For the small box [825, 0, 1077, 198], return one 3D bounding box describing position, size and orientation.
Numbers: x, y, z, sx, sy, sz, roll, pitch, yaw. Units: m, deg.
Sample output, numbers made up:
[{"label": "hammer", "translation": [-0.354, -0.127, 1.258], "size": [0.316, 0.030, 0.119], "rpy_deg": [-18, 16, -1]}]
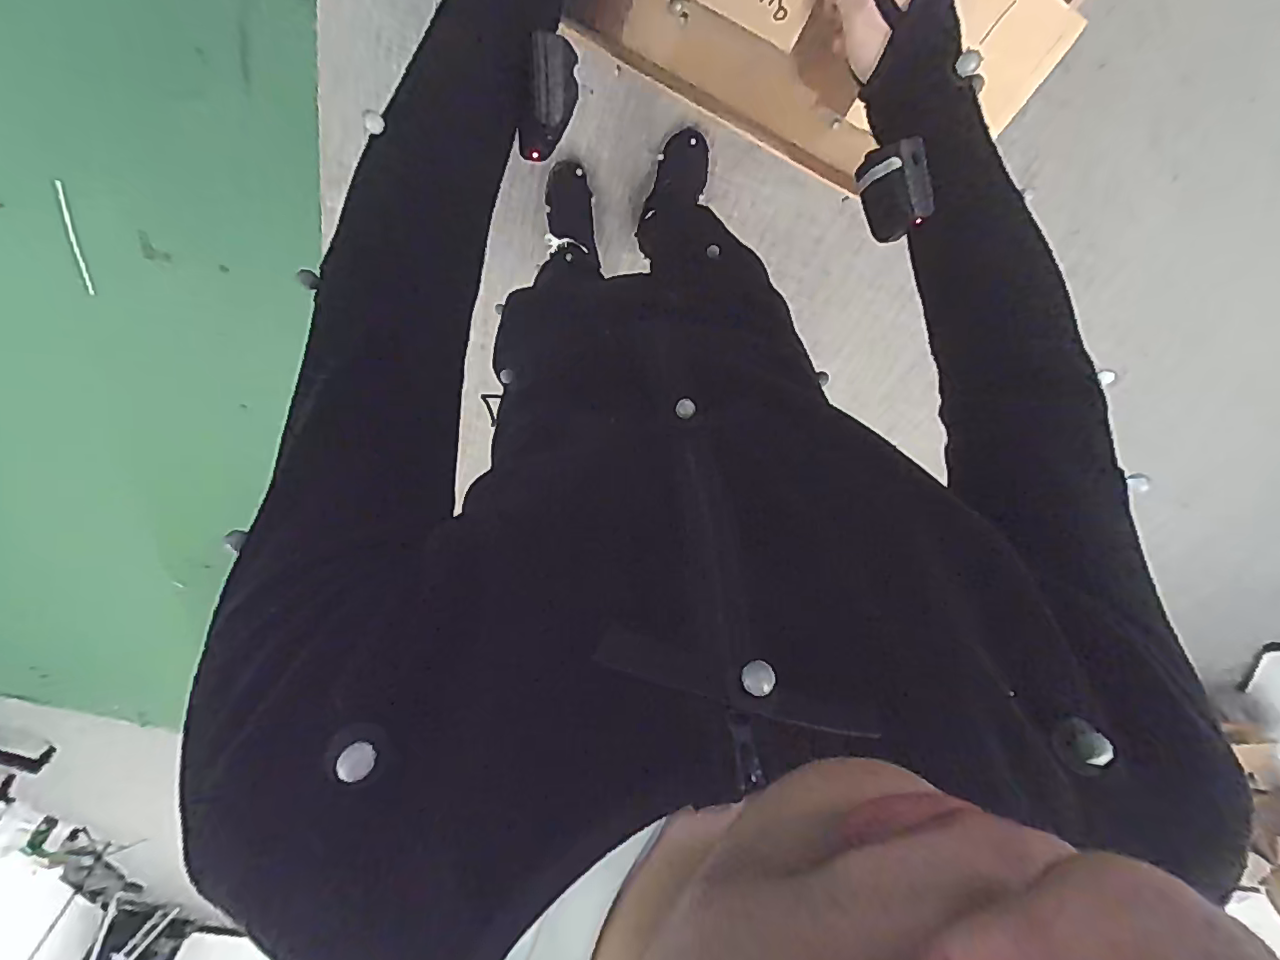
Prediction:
[{"label": "small box", "translation": [0.341, -0.476, 0.640], "size": [0.168, 0.176, 0.179], "rpy_deg": [24, 127, -14]}]
